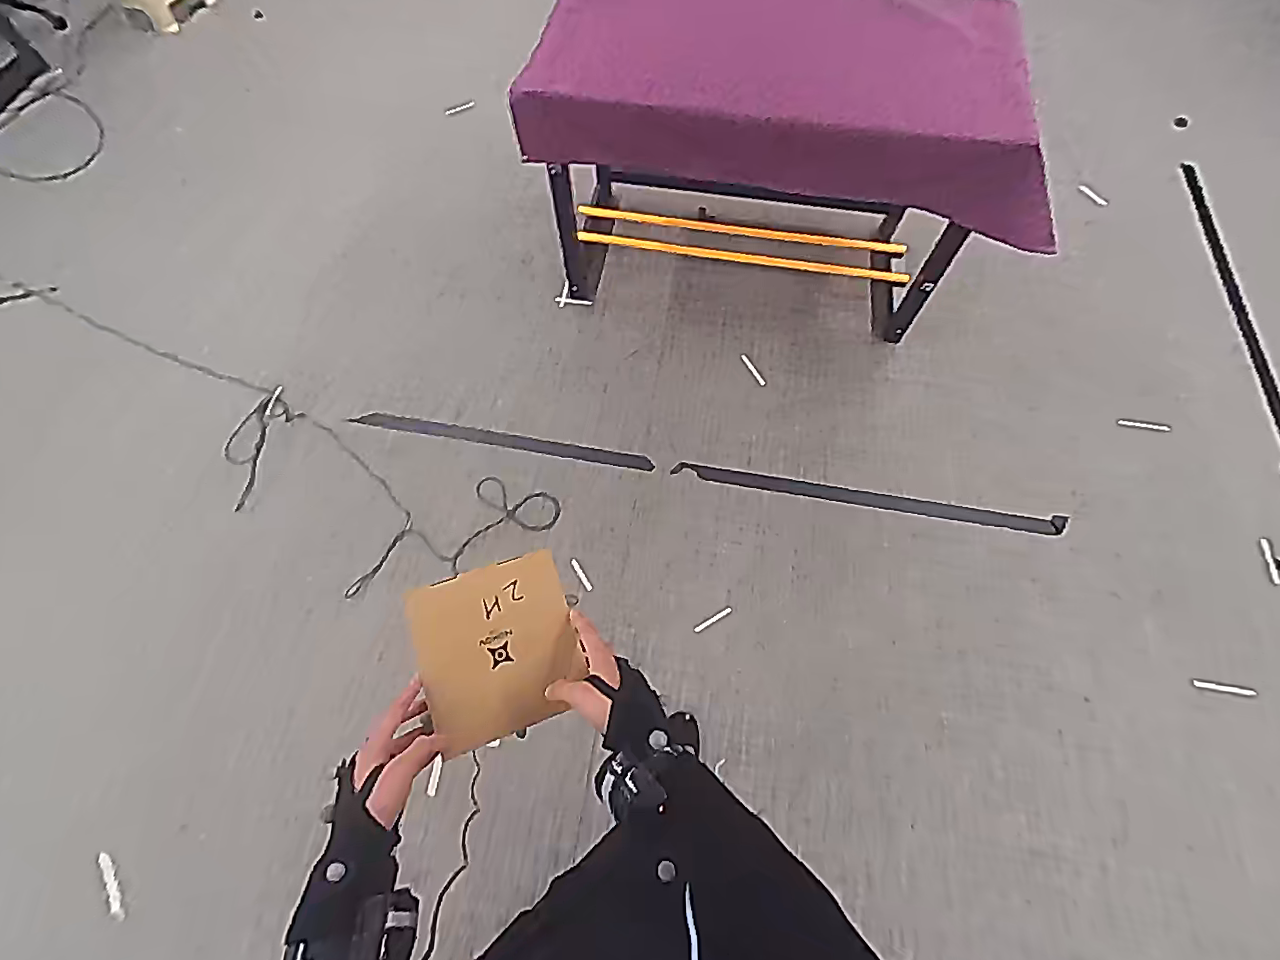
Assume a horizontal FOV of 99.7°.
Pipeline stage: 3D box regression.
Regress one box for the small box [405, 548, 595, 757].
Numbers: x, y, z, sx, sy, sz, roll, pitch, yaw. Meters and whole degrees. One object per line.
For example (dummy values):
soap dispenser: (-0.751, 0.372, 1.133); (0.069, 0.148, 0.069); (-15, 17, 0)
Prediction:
small box: (-0.162, 0.199, 0.647); (0.168, 0.176, 0.179); (-16, 75, -17)
